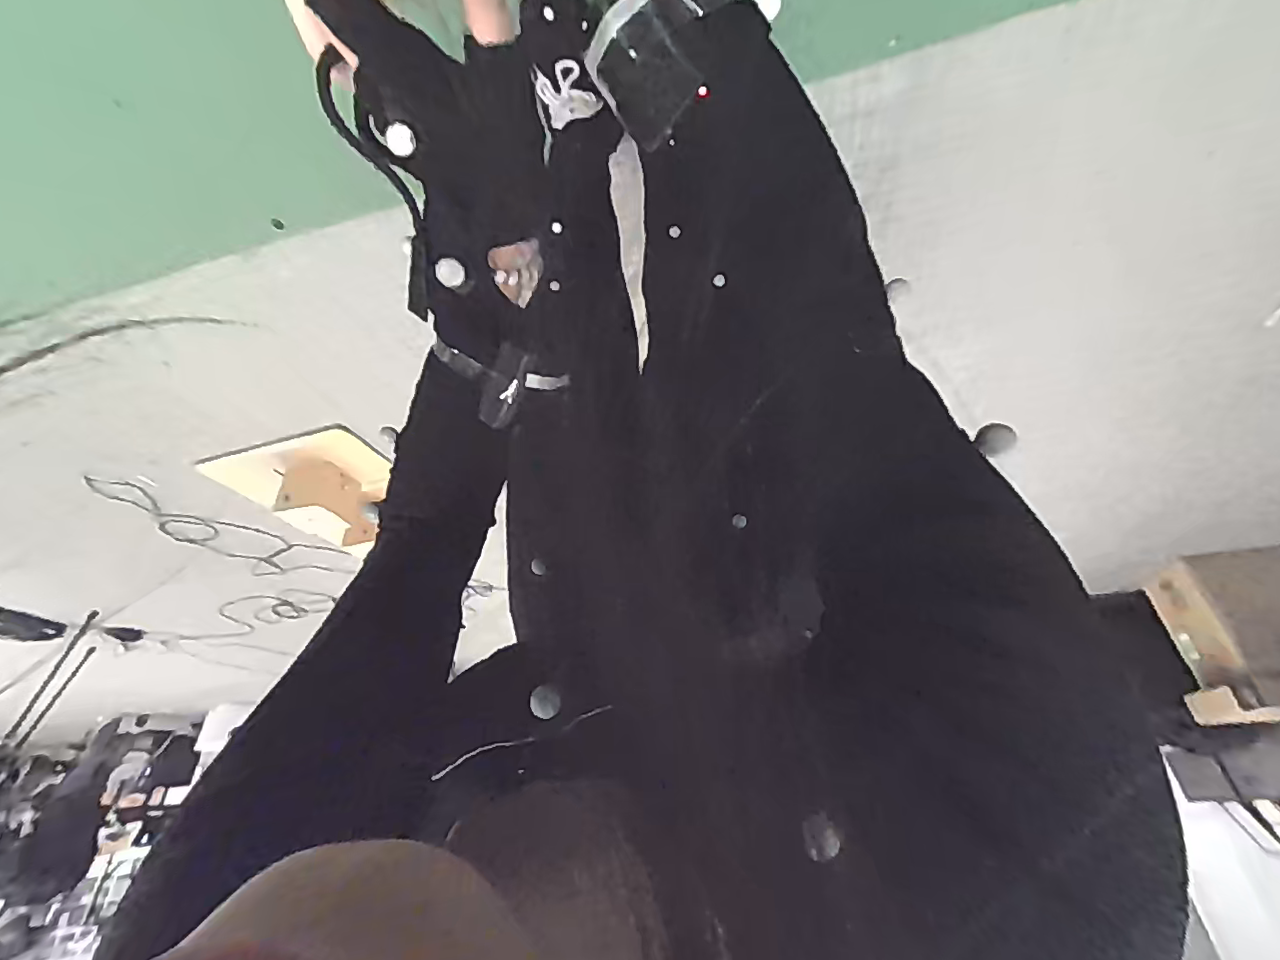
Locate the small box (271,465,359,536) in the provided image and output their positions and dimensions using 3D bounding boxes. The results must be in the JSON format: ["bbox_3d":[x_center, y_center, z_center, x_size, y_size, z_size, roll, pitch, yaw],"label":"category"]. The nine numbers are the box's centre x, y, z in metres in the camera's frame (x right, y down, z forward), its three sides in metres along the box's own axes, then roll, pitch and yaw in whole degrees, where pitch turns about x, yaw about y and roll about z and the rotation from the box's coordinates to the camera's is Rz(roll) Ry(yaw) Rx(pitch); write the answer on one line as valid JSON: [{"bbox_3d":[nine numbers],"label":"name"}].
[{"bbox_3d":[-1.088,0.071,1.827,0.179,0.176,0.168,-10,148,9],"label":"small box"}]

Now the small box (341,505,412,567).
[{"bbox_3d":[-0.989,0.210,2.049,0.179,0.176,0.168,-12,147,15],"label":"small box"}]
